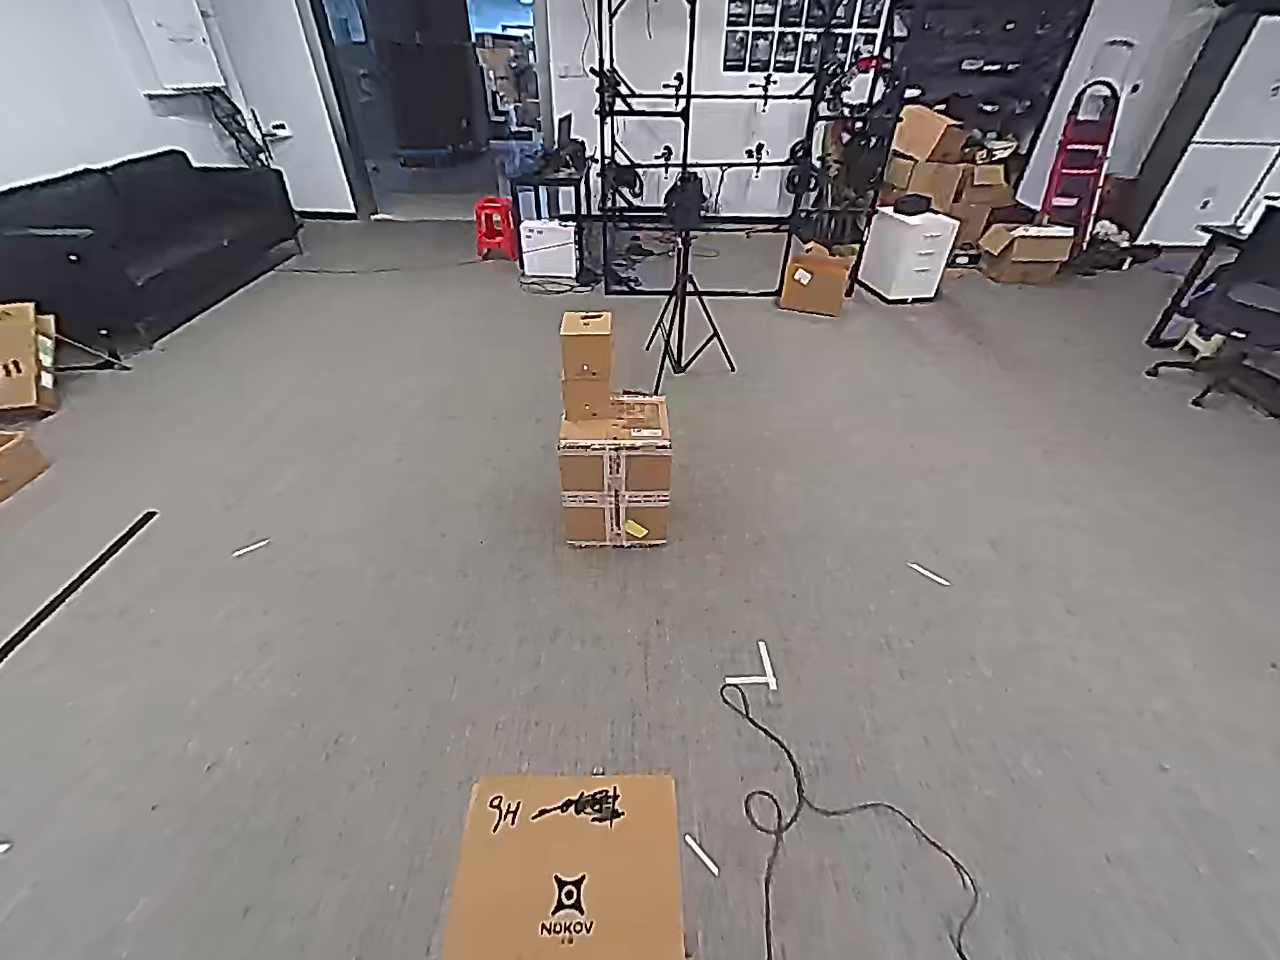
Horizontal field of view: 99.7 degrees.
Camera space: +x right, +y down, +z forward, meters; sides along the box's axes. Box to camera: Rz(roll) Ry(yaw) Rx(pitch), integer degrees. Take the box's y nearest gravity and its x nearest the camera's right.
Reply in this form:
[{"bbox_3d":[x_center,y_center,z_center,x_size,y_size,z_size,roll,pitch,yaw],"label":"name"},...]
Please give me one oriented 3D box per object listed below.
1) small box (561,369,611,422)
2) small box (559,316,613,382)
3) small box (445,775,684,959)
[{"bbox_3d":[-0.194,-0.327,1.970,0.168,0.176,0.179,-4,40,-2],"label":"small box"},{"bbox_3d":[-0.180,-0.452,1.862,0.168,0.176,0.179,-1,41,0],"label":"small box"},{"bbox_3d":[-0.051,0.359,0.440,0.168,0.176,0.179,0,47,-1],"label":"small box"}]
